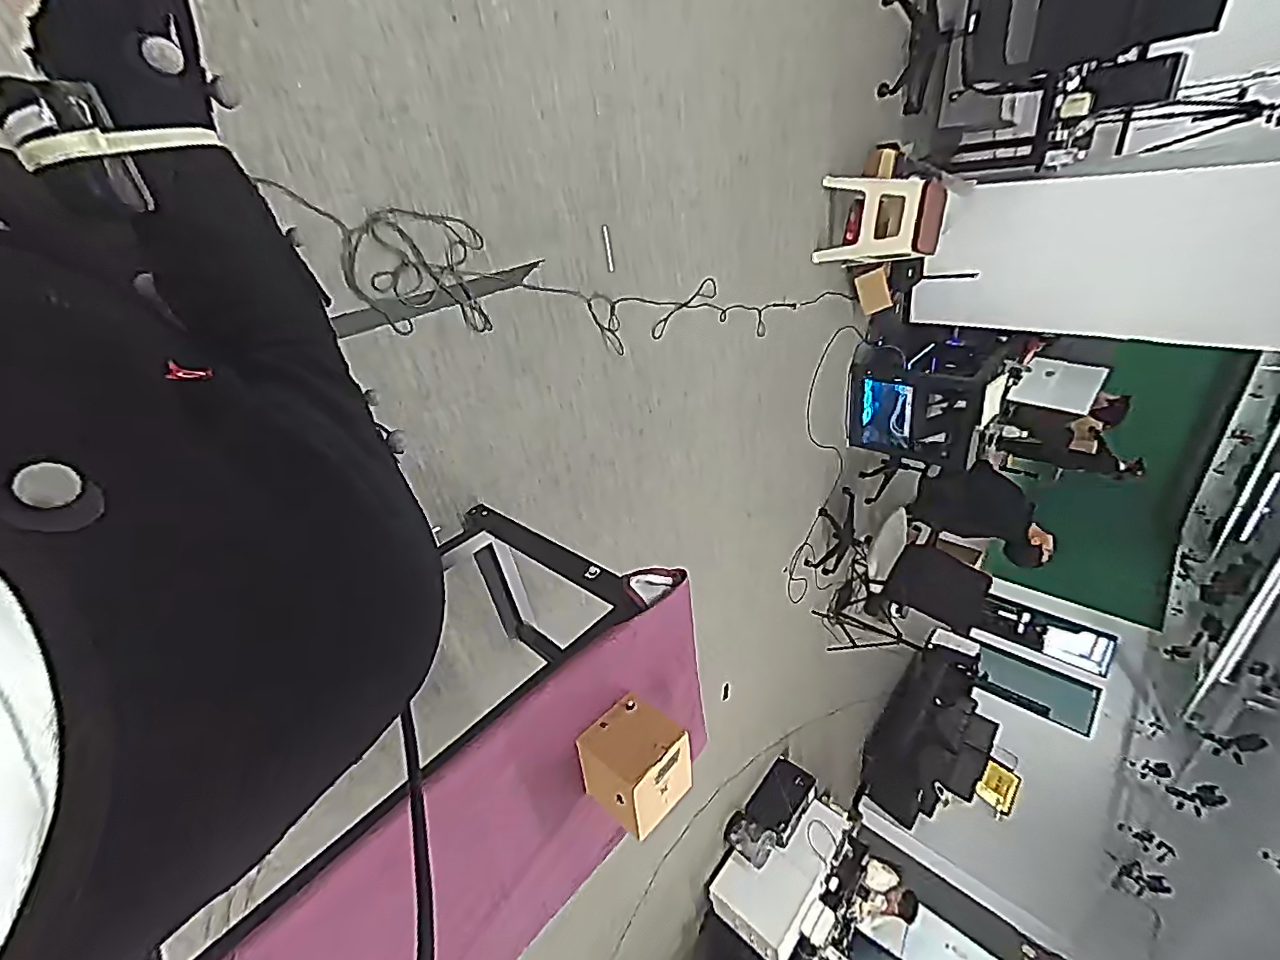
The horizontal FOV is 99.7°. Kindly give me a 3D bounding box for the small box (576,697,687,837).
[{"bbox_3d":[-0.020,0.591,1.144,0.168,0.176,0.179,-28,125,-38],"label":"small box"}]
